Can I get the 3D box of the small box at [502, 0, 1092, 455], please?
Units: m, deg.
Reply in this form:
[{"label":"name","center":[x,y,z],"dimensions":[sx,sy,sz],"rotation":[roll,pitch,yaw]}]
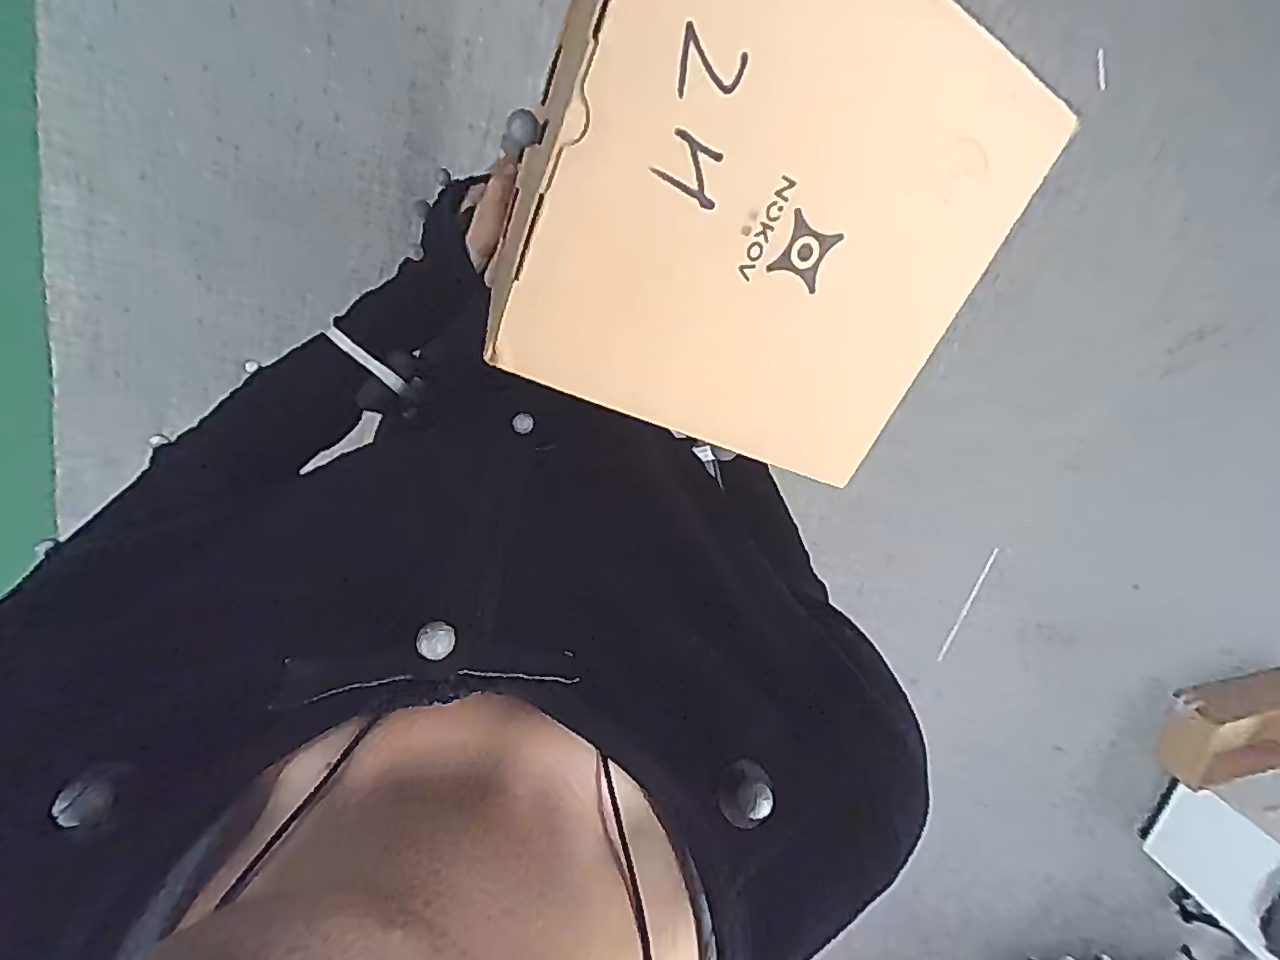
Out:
[{"label":"small box","center":[0.043,-0.139,0.266],"dimensions":[0.179,0.176,0.168],"rotation":[18,112,-21]}]
